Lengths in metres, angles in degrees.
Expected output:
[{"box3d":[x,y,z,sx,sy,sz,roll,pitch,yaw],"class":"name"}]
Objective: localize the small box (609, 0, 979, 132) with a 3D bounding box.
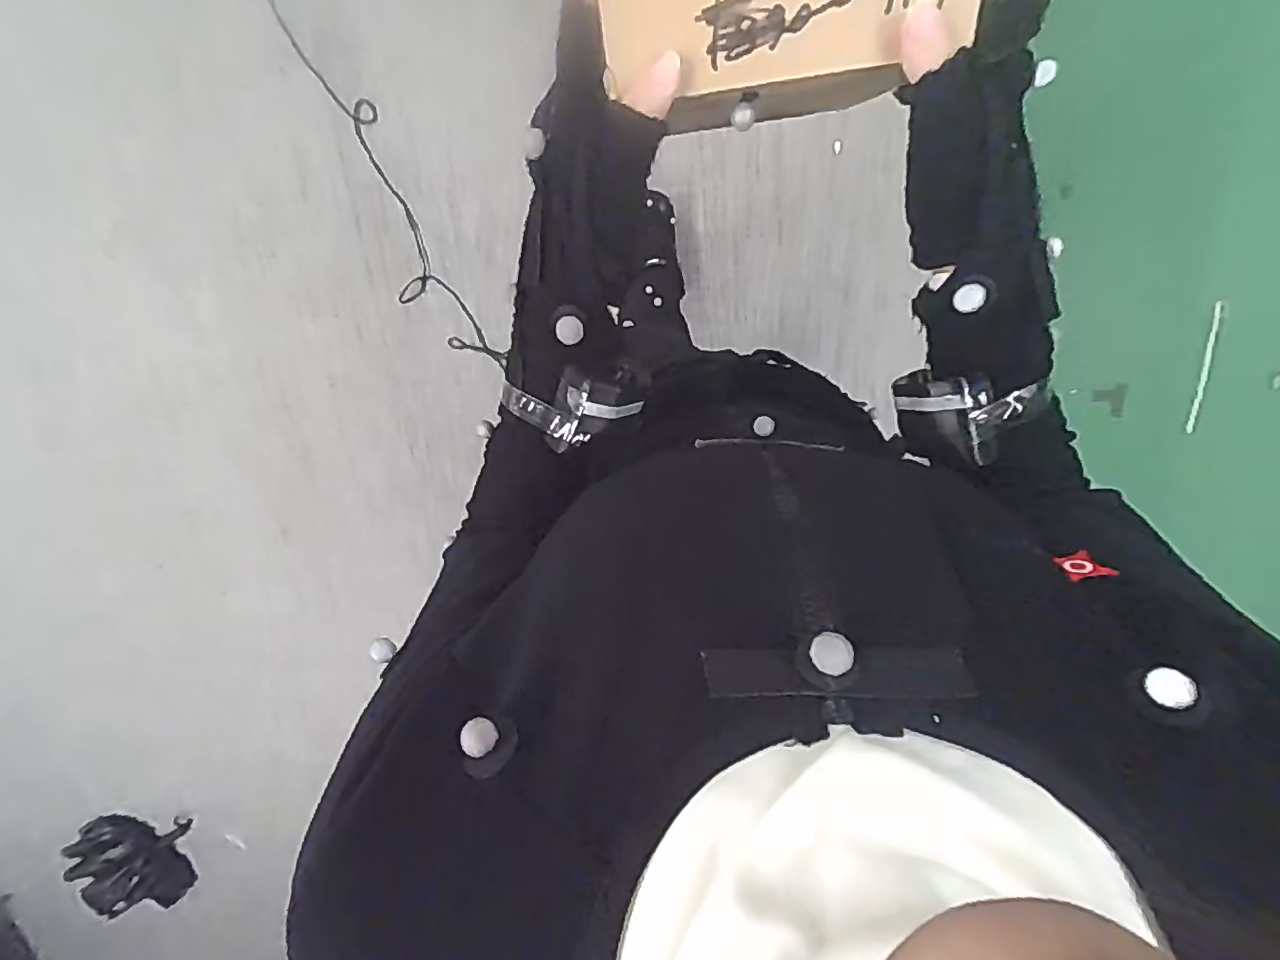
[{"box3d":[0.060,-0.308,0.286,0.168,0.176,0.179,-8,117,5],"class":"small box"}]
